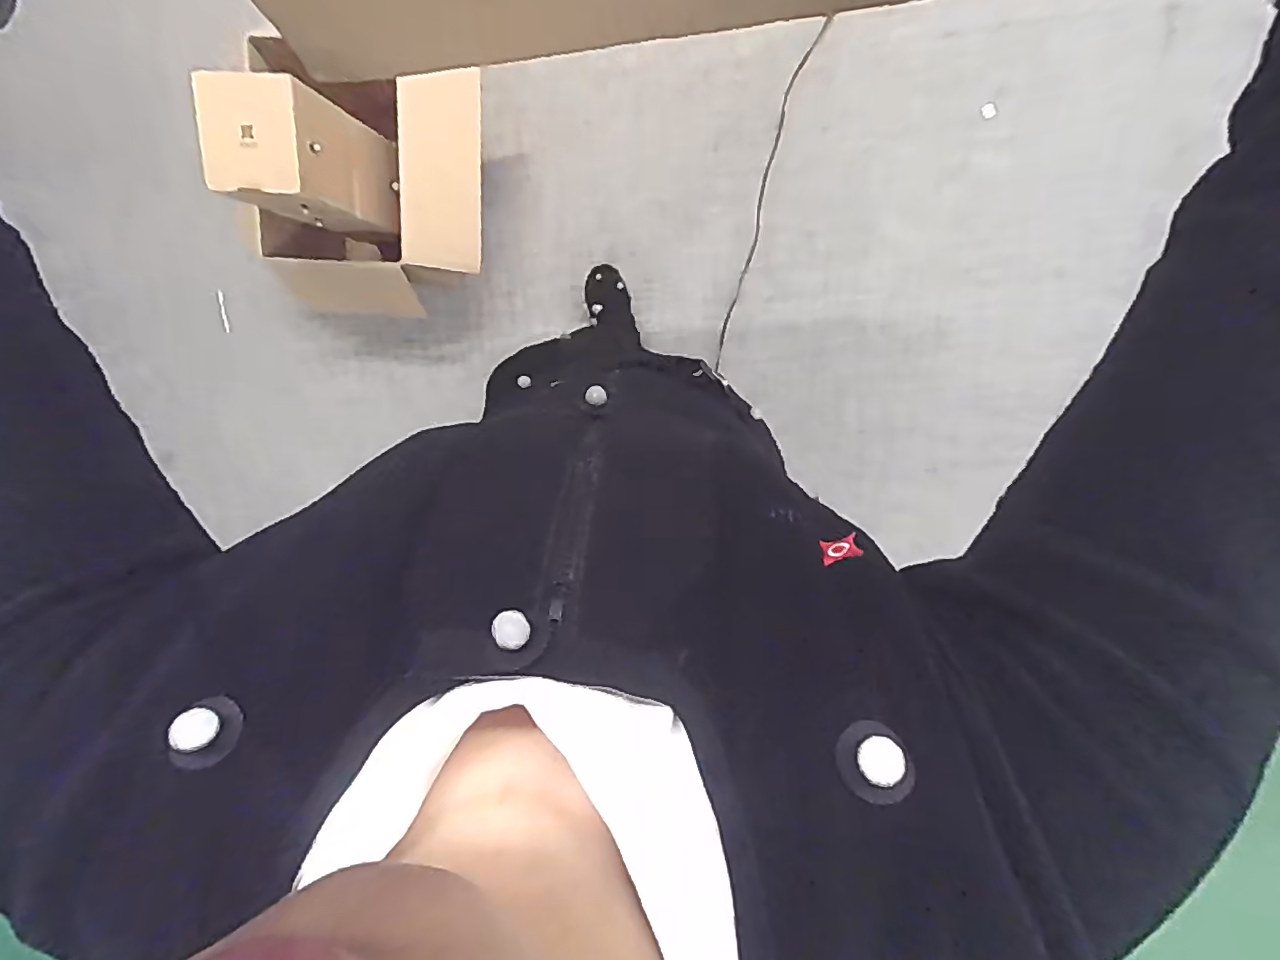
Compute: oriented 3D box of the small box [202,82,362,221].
[{"bbox_3d":[-0.619,-0.569,0.960,0.168,0.176,0.179,2,104,3],"label":"small box"}]
